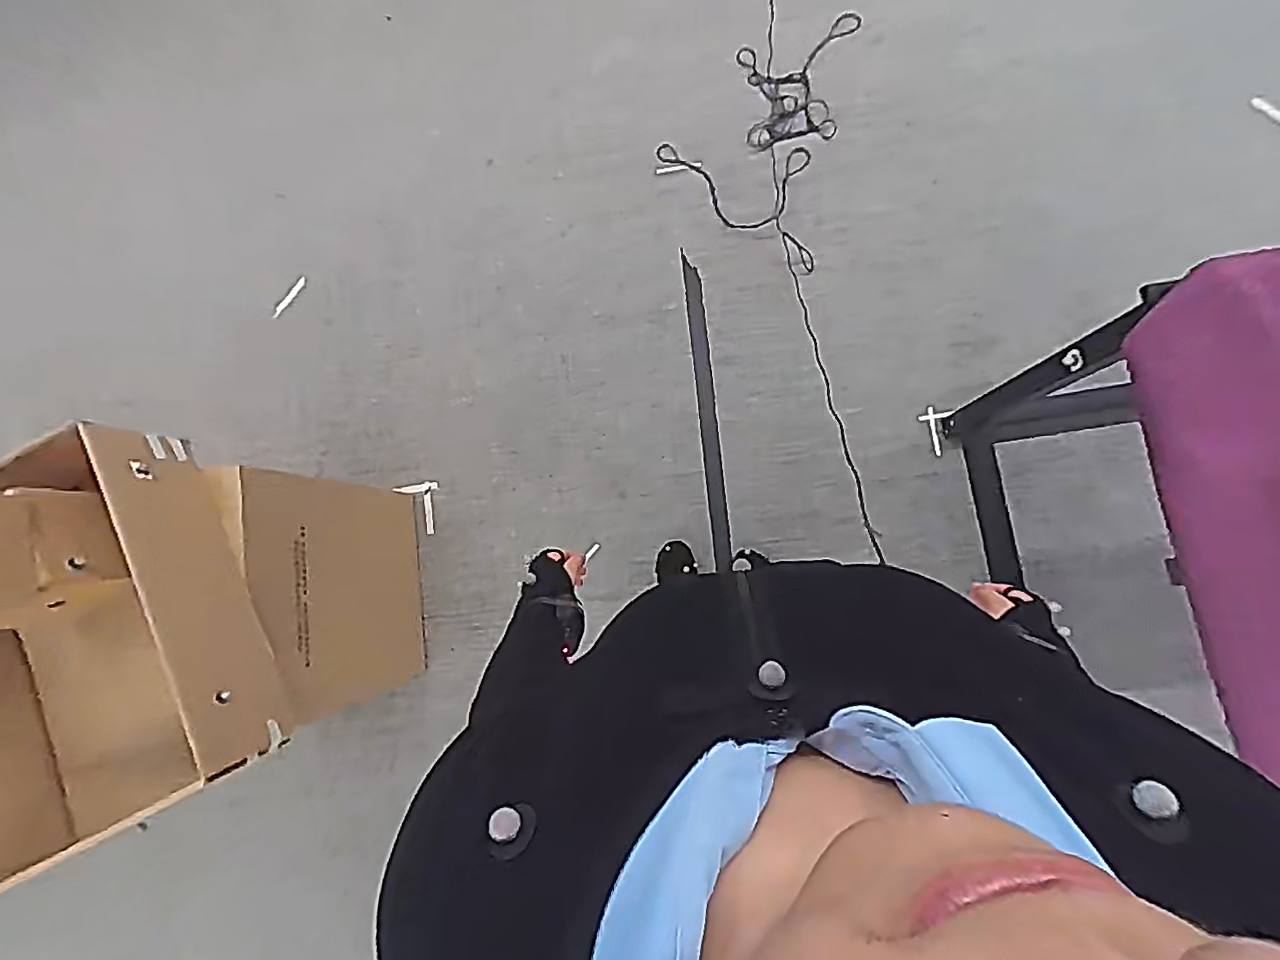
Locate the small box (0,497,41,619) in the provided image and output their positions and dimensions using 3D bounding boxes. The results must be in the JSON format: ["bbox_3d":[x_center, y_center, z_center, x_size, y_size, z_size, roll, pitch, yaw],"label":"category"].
[{"bbox_3d":[-0.991,0.117,0.738,0.168,0.176,0.179,-15,83,4],"label":"small box"}]
